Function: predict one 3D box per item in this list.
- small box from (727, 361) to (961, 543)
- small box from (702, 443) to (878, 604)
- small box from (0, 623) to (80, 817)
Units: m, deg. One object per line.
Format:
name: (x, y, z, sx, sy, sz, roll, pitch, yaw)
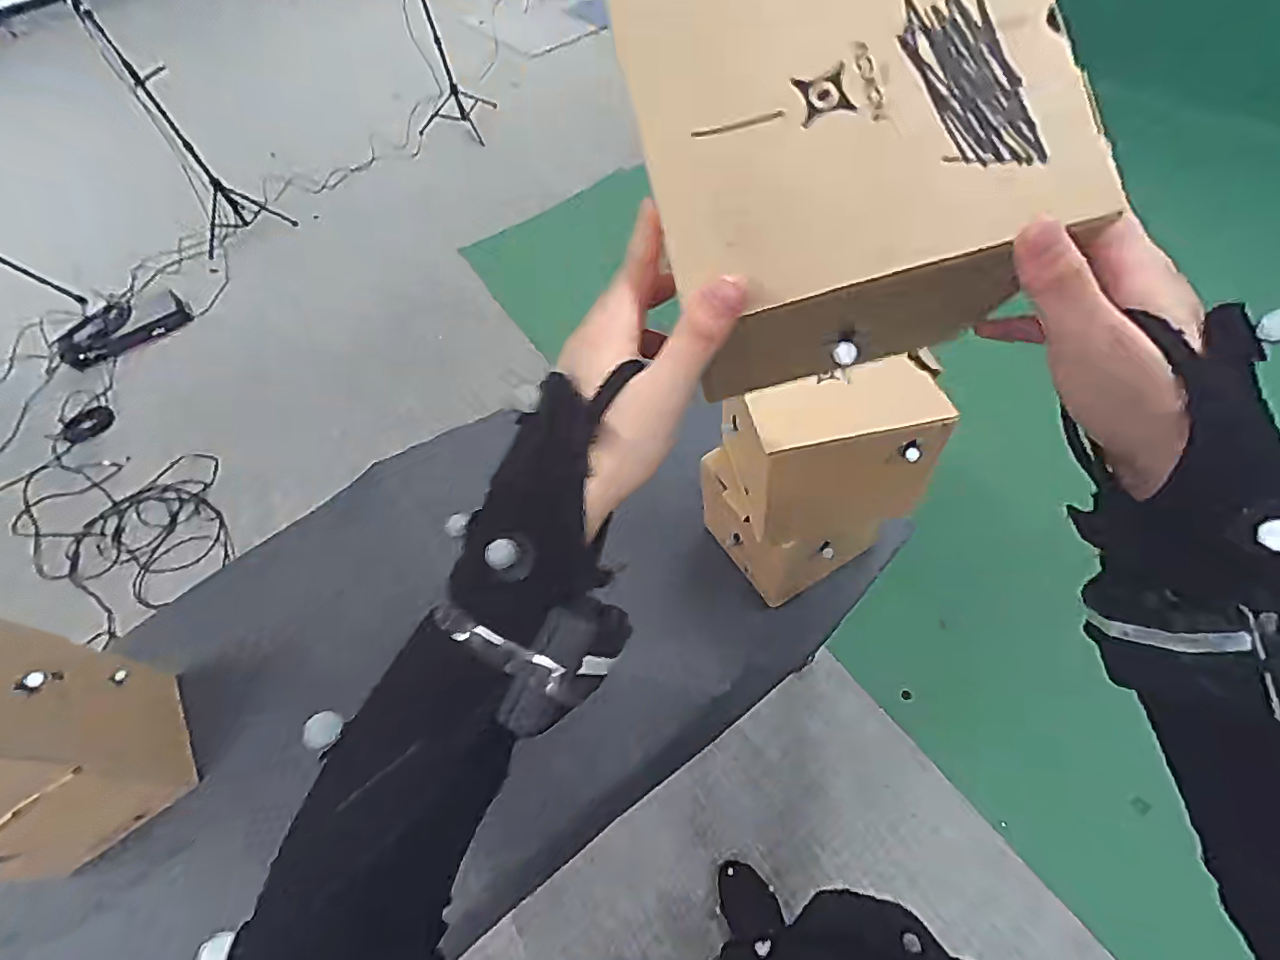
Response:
small box: (0.193, -0.051, 0.577, 0.179, 0.176, 0.168, -11, 53, 0)
small box: (0.202, 0.034, 0.717, 0.179, 0.176, 0.168, -30, 55, -11)
small box: (-0.691, 0.243, 0.499, 0.179, 0.176, 0.168, -34, 61, -15)
